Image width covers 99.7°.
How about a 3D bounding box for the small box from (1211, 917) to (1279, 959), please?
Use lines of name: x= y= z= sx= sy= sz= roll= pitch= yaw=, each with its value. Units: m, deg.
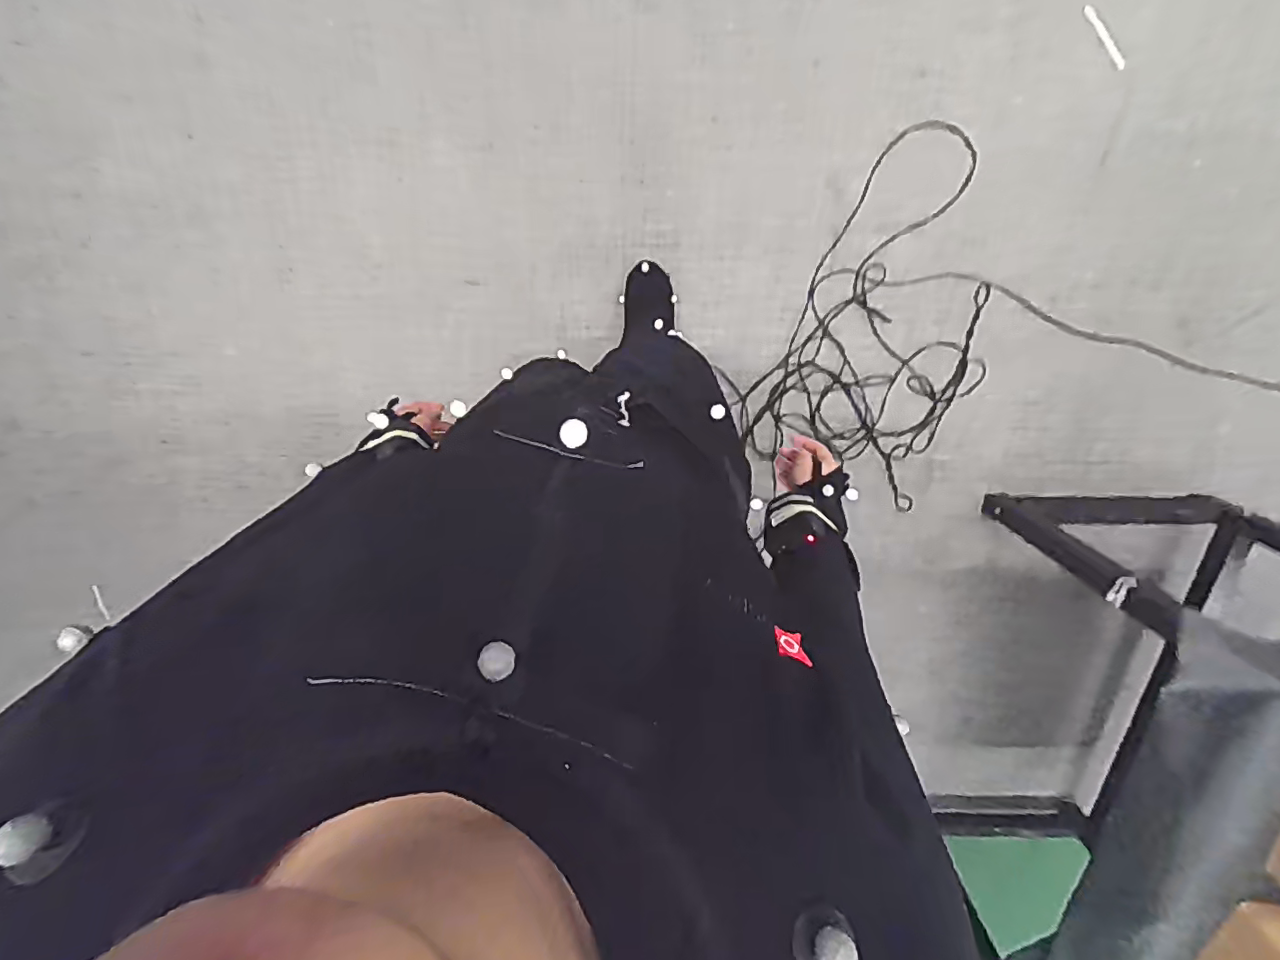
small box: x=1.024 y=0.795 z=0.807 sx=0.168 sy=0.176 sz=0.179 roll=4 pitch=111 yaw=-1
